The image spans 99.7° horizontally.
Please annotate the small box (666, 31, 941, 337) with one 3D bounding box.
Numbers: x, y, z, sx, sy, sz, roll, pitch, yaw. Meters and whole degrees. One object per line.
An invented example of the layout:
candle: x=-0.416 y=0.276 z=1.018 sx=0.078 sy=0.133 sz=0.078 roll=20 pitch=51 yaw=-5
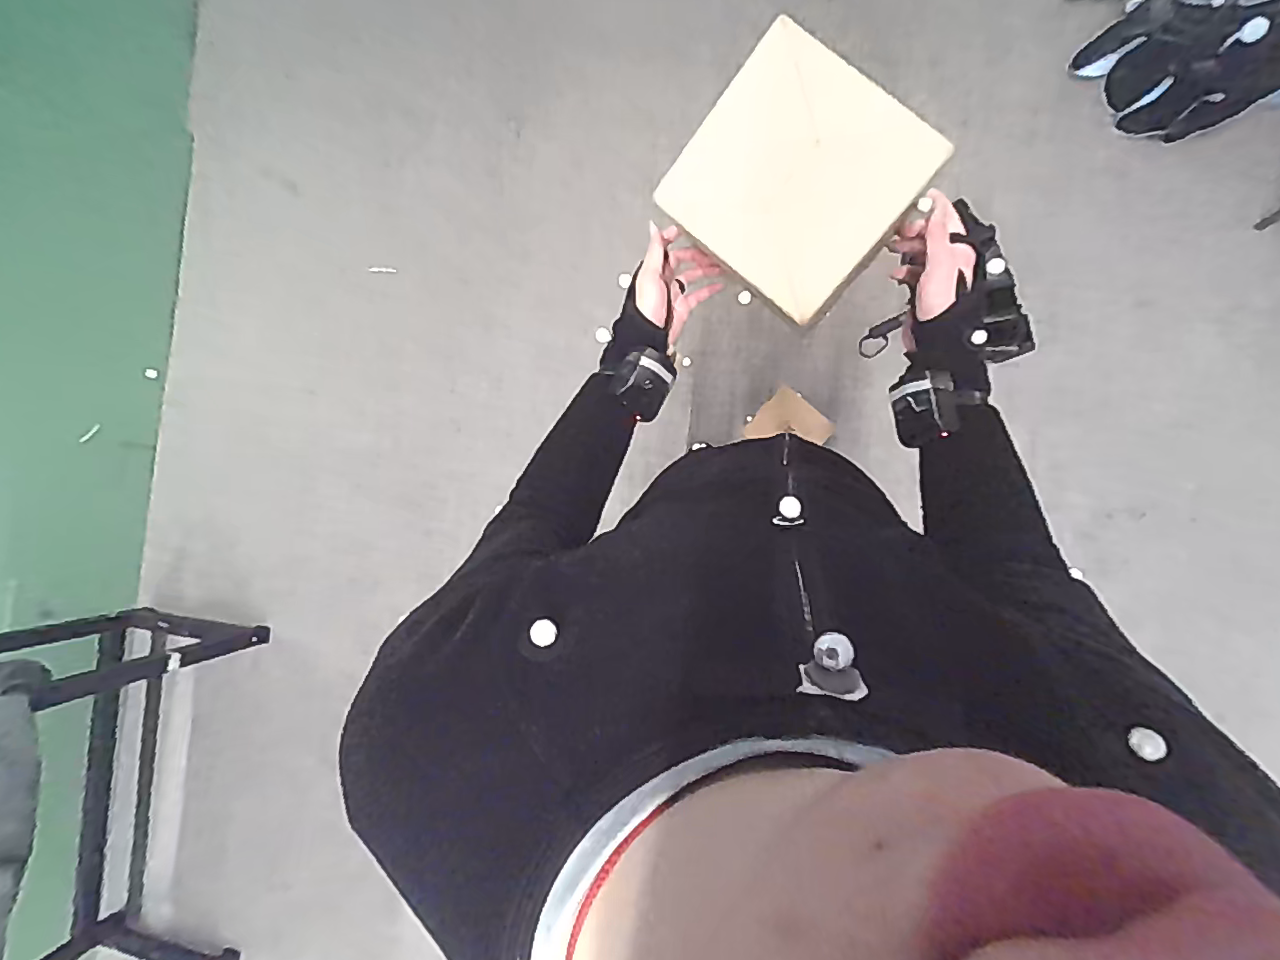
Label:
small box: x=0.149 y=-0.253 z=0.507 sx=0.179 sy=0.176 sz=0.168 roll=41 pitch=110 yaw=4
